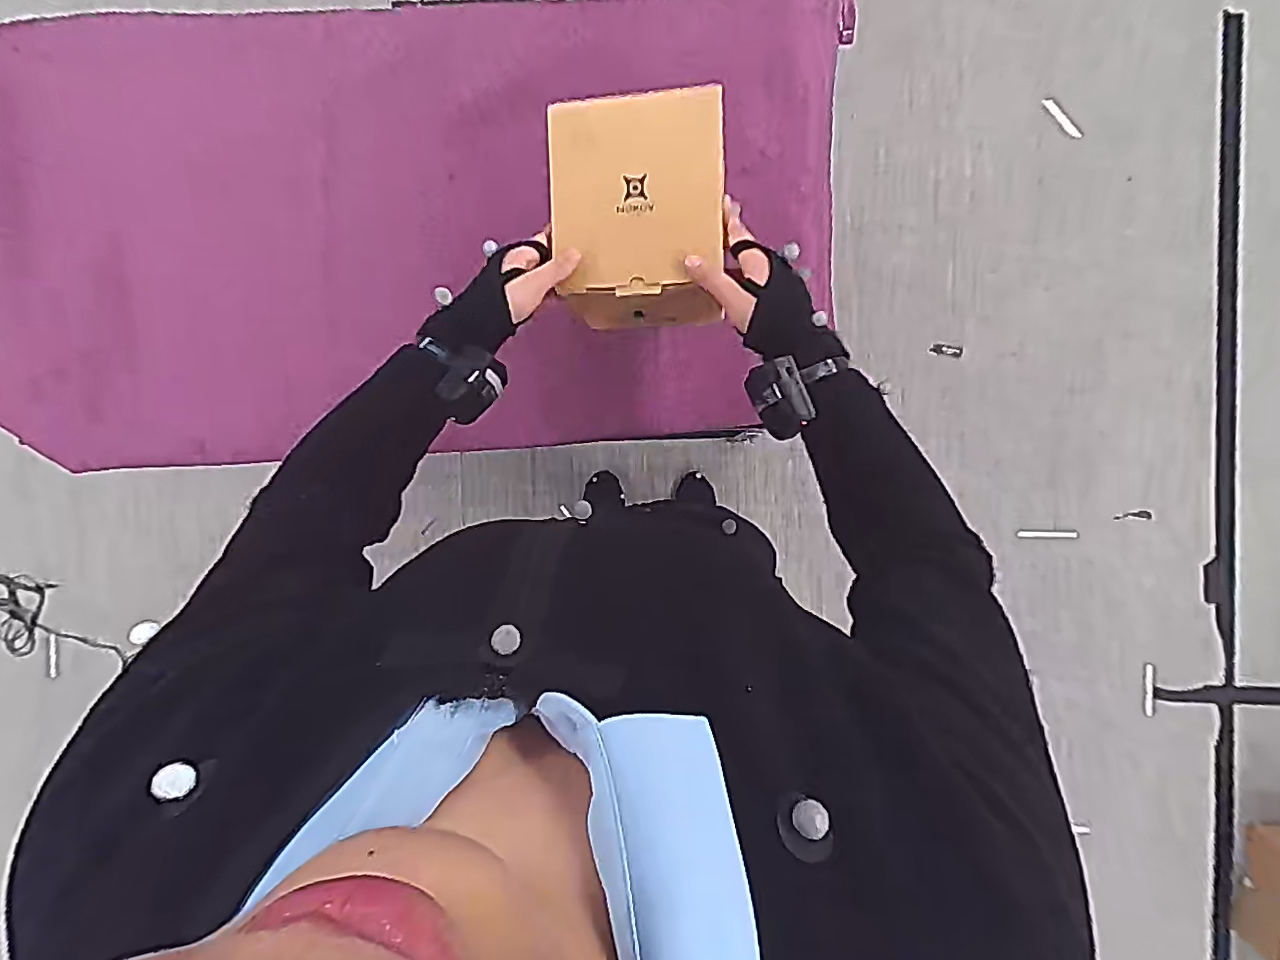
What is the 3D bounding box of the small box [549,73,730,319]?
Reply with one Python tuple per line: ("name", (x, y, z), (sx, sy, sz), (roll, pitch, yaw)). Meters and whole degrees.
("small box", (0.008, -0.278, 0.571), (0.168, 0.176, 0.179), (-1, 96, 8))
